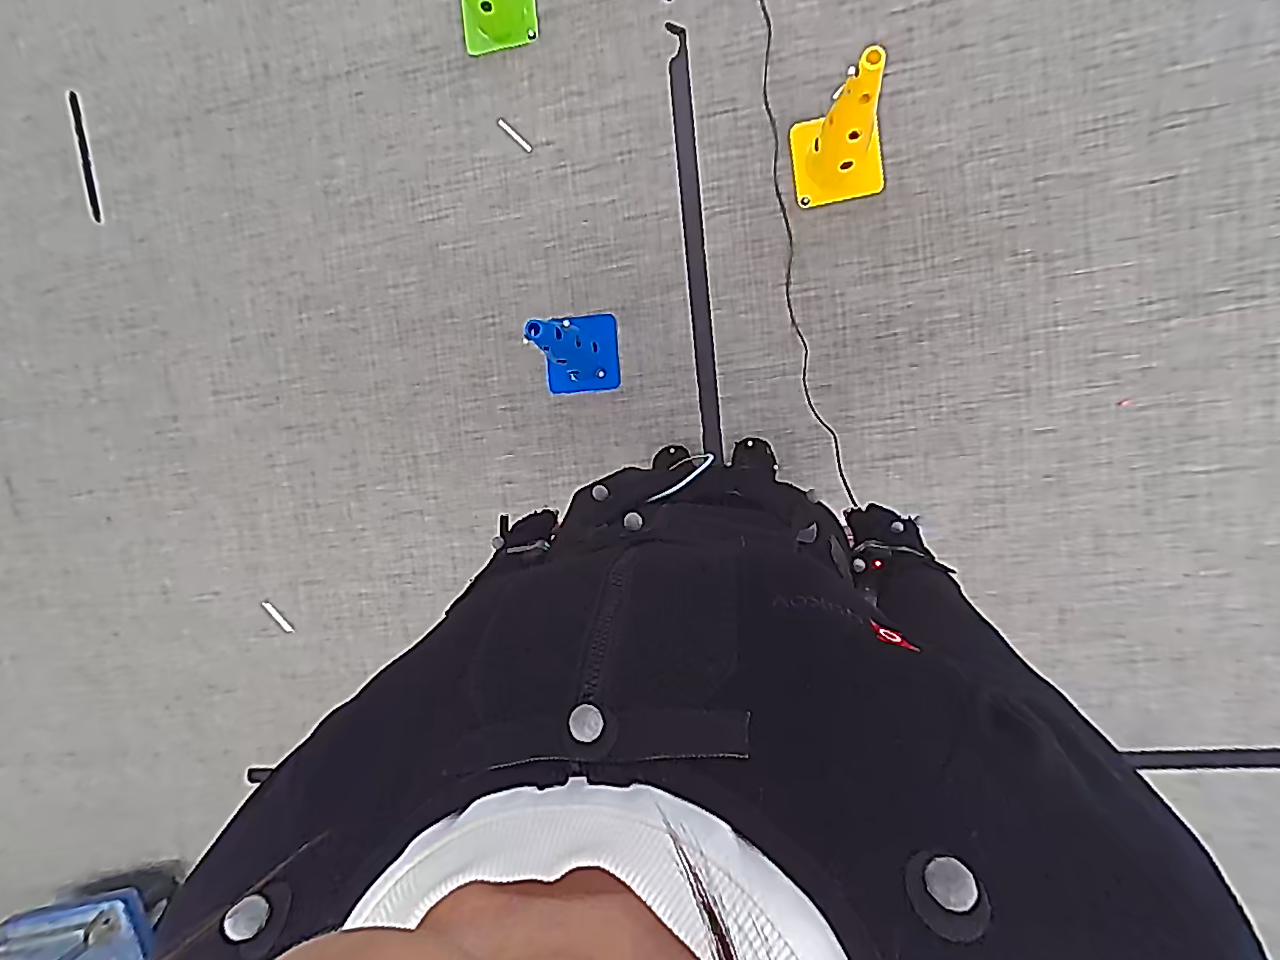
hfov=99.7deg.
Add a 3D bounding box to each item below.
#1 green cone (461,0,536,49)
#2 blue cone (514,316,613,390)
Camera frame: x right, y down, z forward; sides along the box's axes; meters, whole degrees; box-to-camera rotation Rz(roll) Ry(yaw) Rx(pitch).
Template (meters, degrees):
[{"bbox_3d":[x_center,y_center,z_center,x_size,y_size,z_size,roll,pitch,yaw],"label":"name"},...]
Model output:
[{"bbox_3d":[-0.401,-1.221,1.227,0.202,0.368,0.200,-5,94,12],"label":"green cone"},{"bbox_3d":[-0.196,-0.327,1.286,0.192,0.380,0.193,-1,95,11],"label":"blue cone"}]
